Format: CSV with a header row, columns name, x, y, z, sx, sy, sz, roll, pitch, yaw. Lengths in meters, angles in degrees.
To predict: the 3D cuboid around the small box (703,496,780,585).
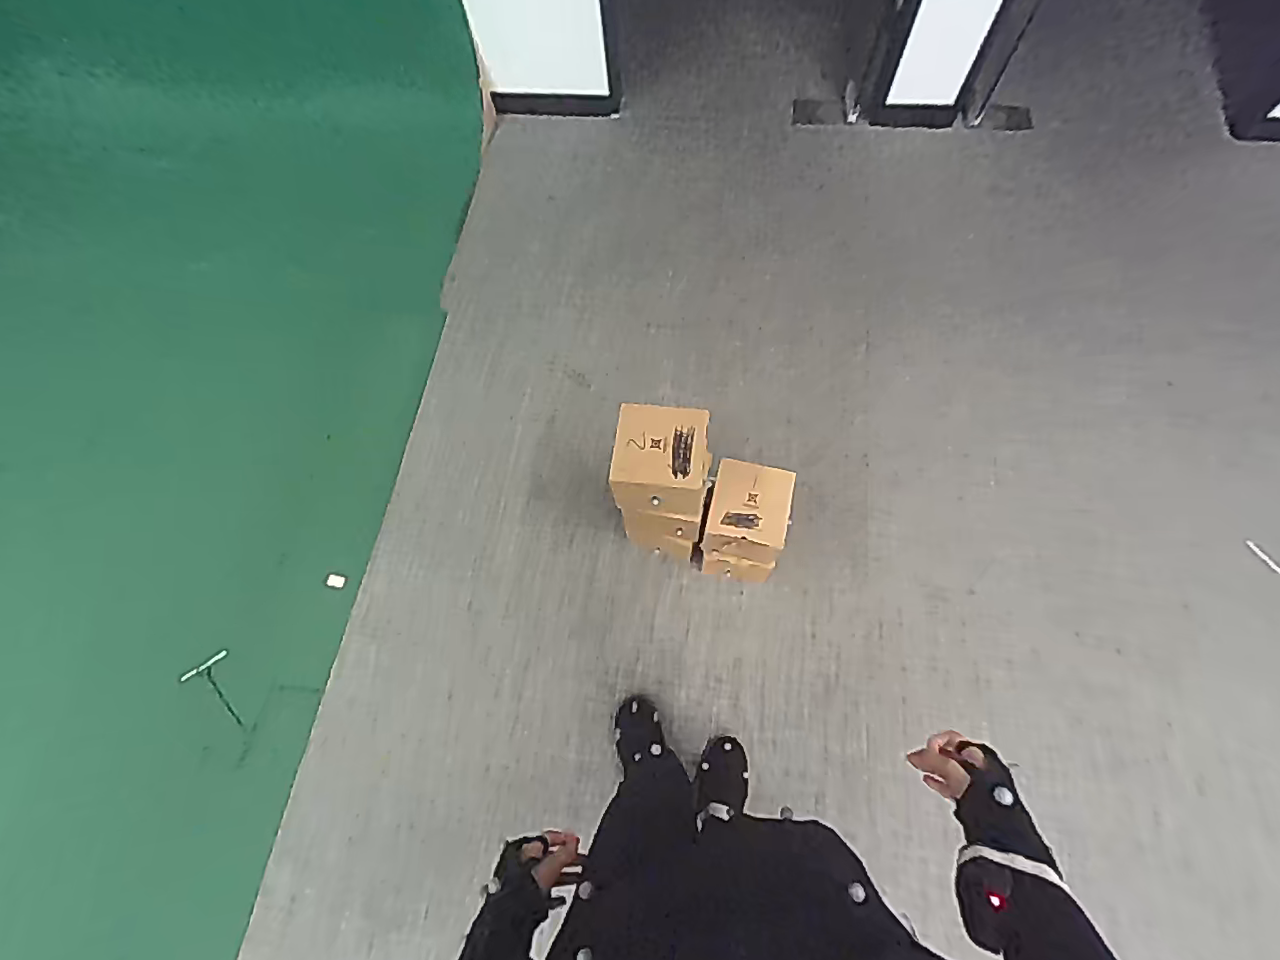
name,x,y,z,sx,sy,sz,roll,pitch,yaw
small box,0.251,0.157,1.364,0.168,0.176,0.179,7,71,7
